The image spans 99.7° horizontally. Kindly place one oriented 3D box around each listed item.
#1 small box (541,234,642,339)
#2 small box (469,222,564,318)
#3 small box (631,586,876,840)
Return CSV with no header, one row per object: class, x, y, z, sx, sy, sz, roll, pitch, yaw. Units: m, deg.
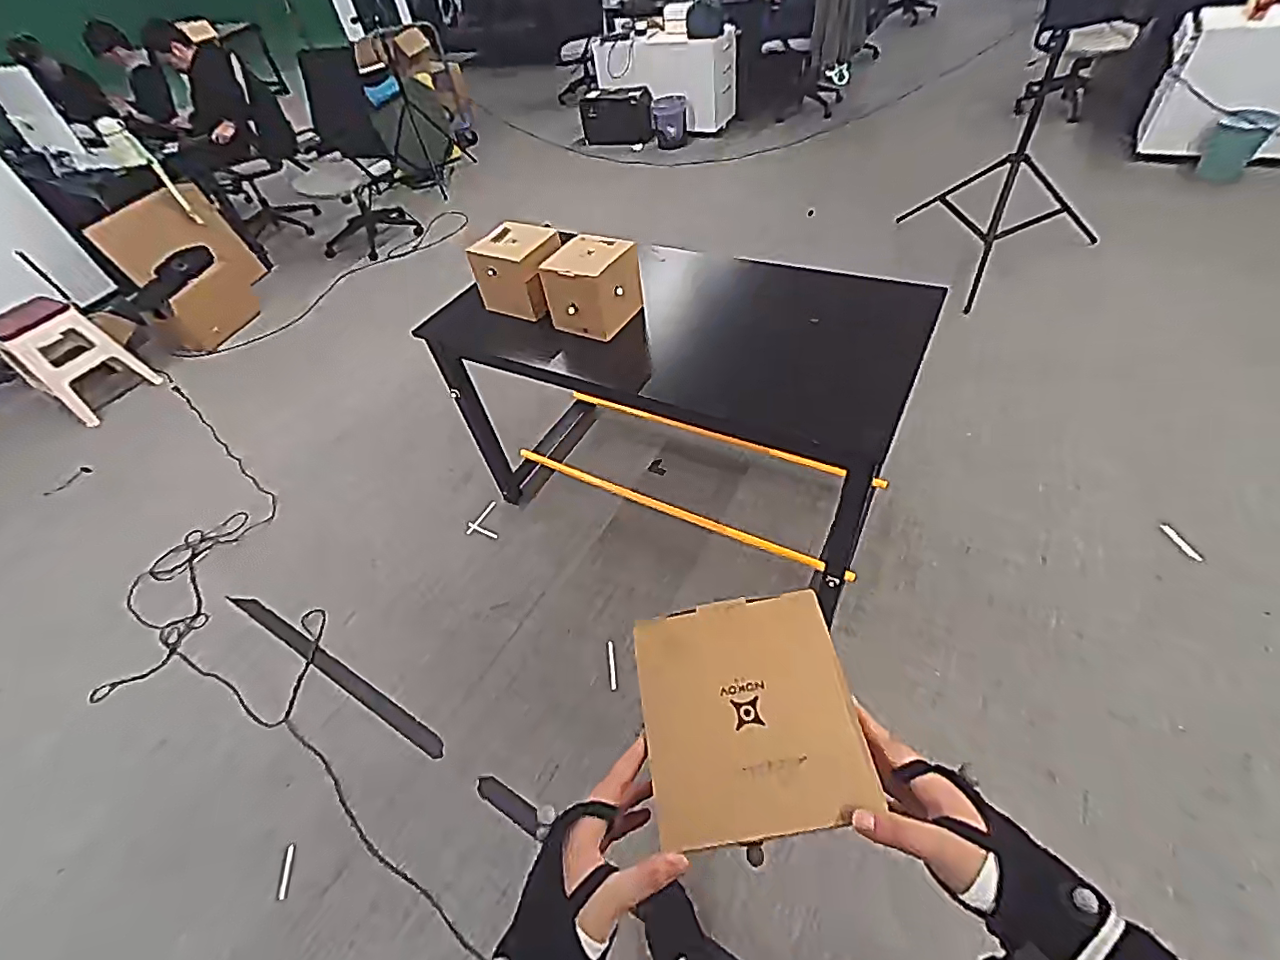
small box,-0.108,-0.468,1.316,0.168,0.176,0.179,21,56,24
small box,-0.305,-0.546,1.412,0.179,0.176,0.168,21,56,23
small box,0.089,0.222,0.504,0.168,0.176,0.179,-10,56,2
